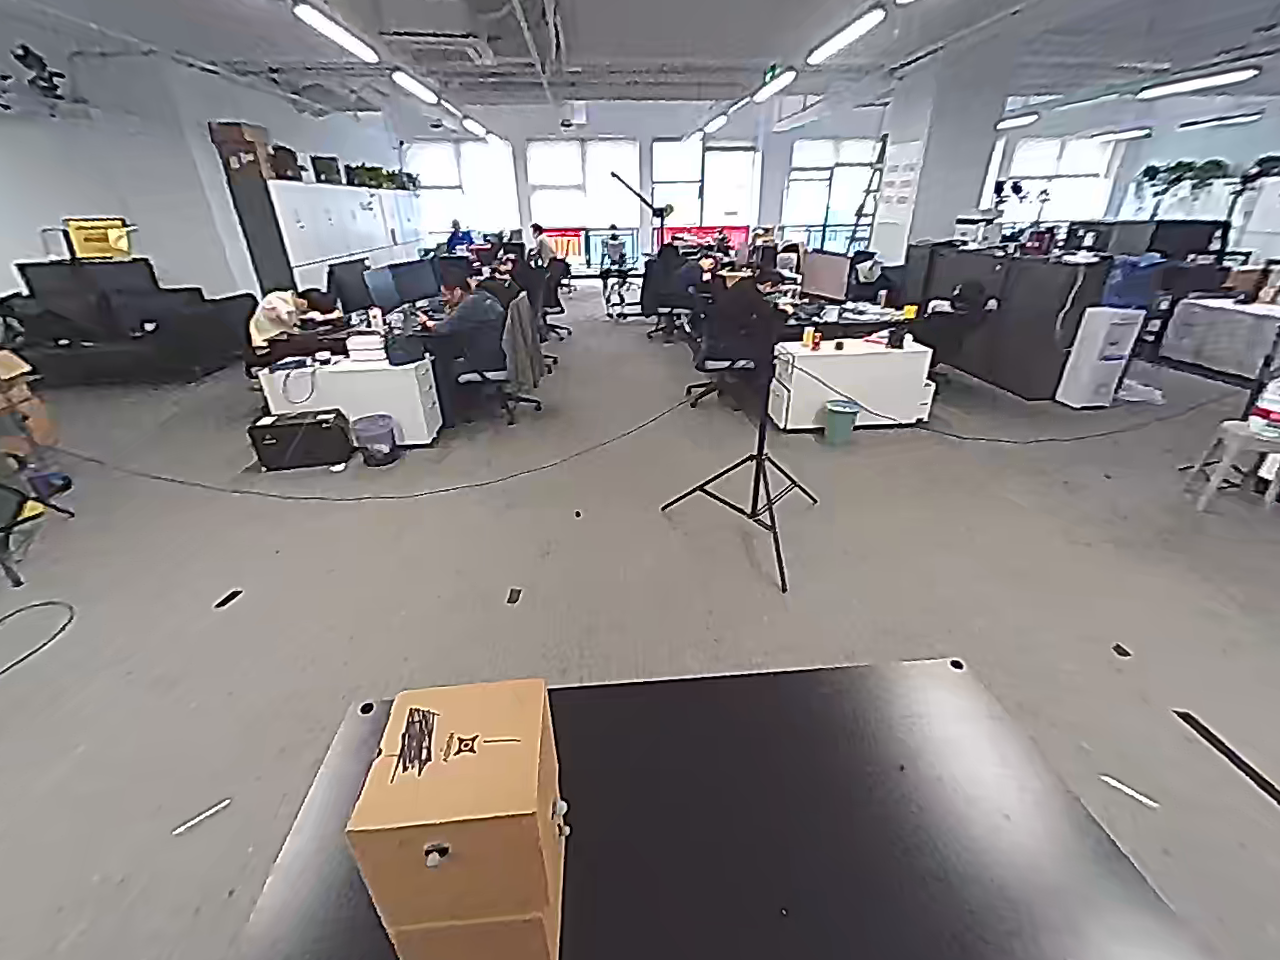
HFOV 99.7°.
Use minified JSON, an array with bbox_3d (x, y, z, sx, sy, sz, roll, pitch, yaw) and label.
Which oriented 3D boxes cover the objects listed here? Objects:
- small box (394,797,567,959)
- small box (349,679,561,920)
[{"bbox_3d":[-0.184,0.500,0.682,0.168,0.176,0.179,-4,27,-3],"label":"small box"},{"bbox_3d":[-0.187,0.354,0.607,0.179,0.176,0.168,-4,27,-5],"label":"small box"}]
